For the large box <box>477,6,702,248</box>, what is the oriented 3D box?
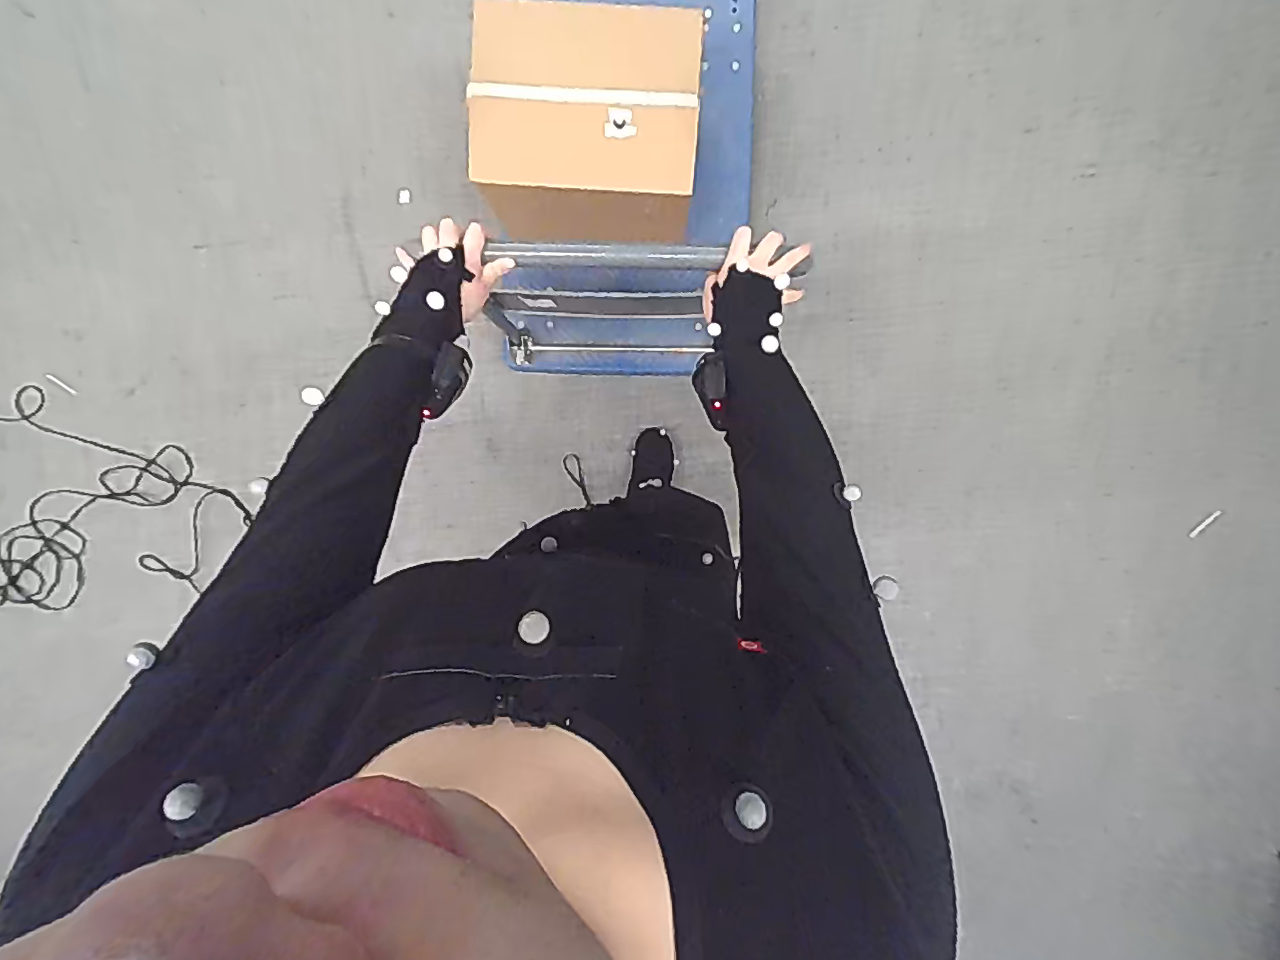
[{"bbox_3d":[-0.096,-0.696,1.122,0.408,0.320,0.320,3,95,0],"label":"large box"}]
